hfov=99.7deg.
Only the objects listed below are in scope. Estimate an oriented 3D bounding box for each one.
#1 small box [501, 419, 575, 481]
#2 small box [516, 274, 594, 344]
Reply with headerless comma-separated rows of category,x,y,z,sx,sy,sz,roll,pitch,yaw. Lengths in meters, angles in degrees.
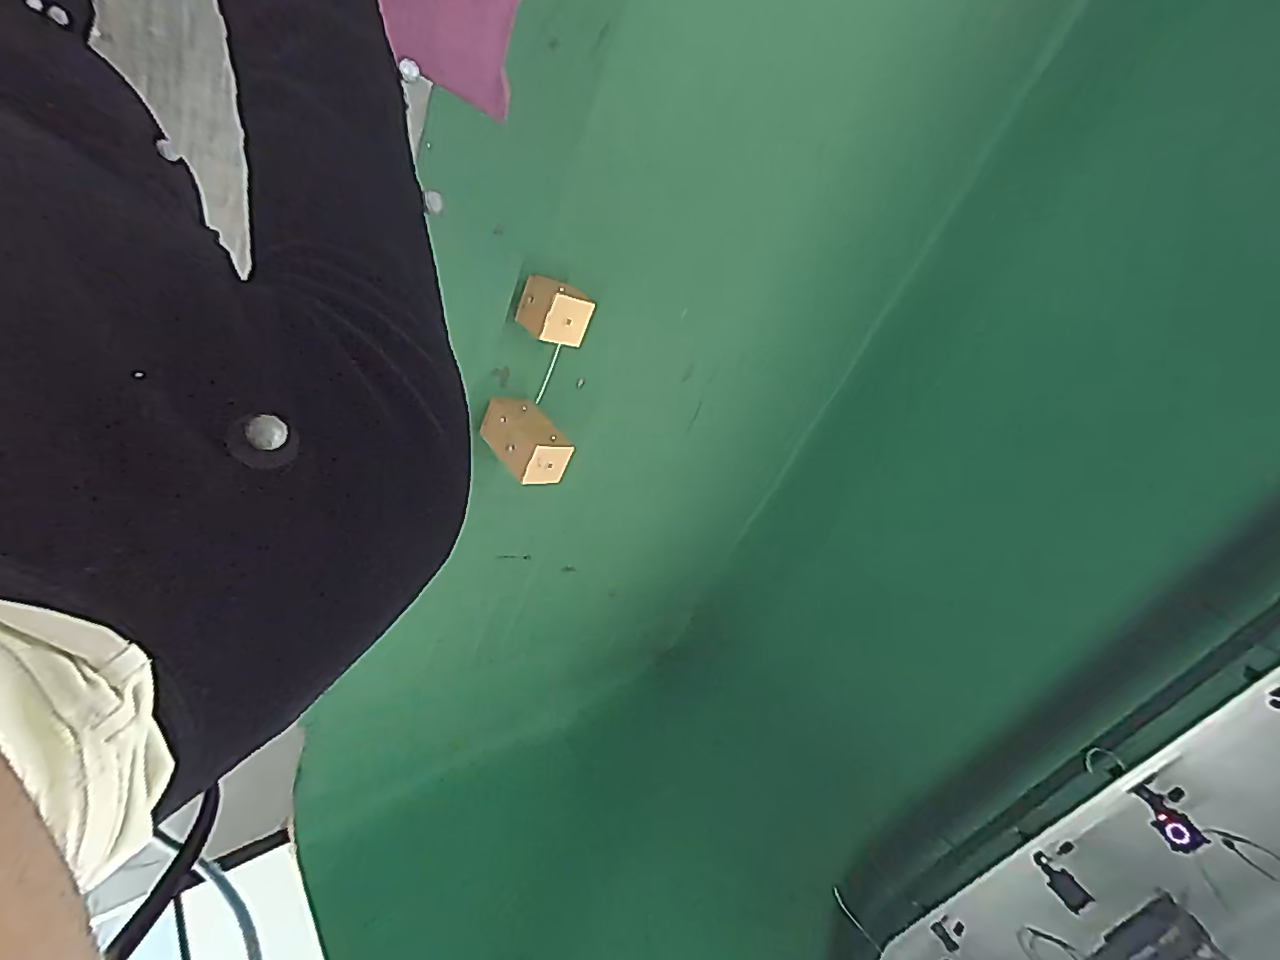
small box,-0.379,-0.111,1.994,0.179,0.176,0.168,-3,128,-48
small box,-0.297,-0.591,1.868,0.179,0.176,0.168,-4,129,-47
